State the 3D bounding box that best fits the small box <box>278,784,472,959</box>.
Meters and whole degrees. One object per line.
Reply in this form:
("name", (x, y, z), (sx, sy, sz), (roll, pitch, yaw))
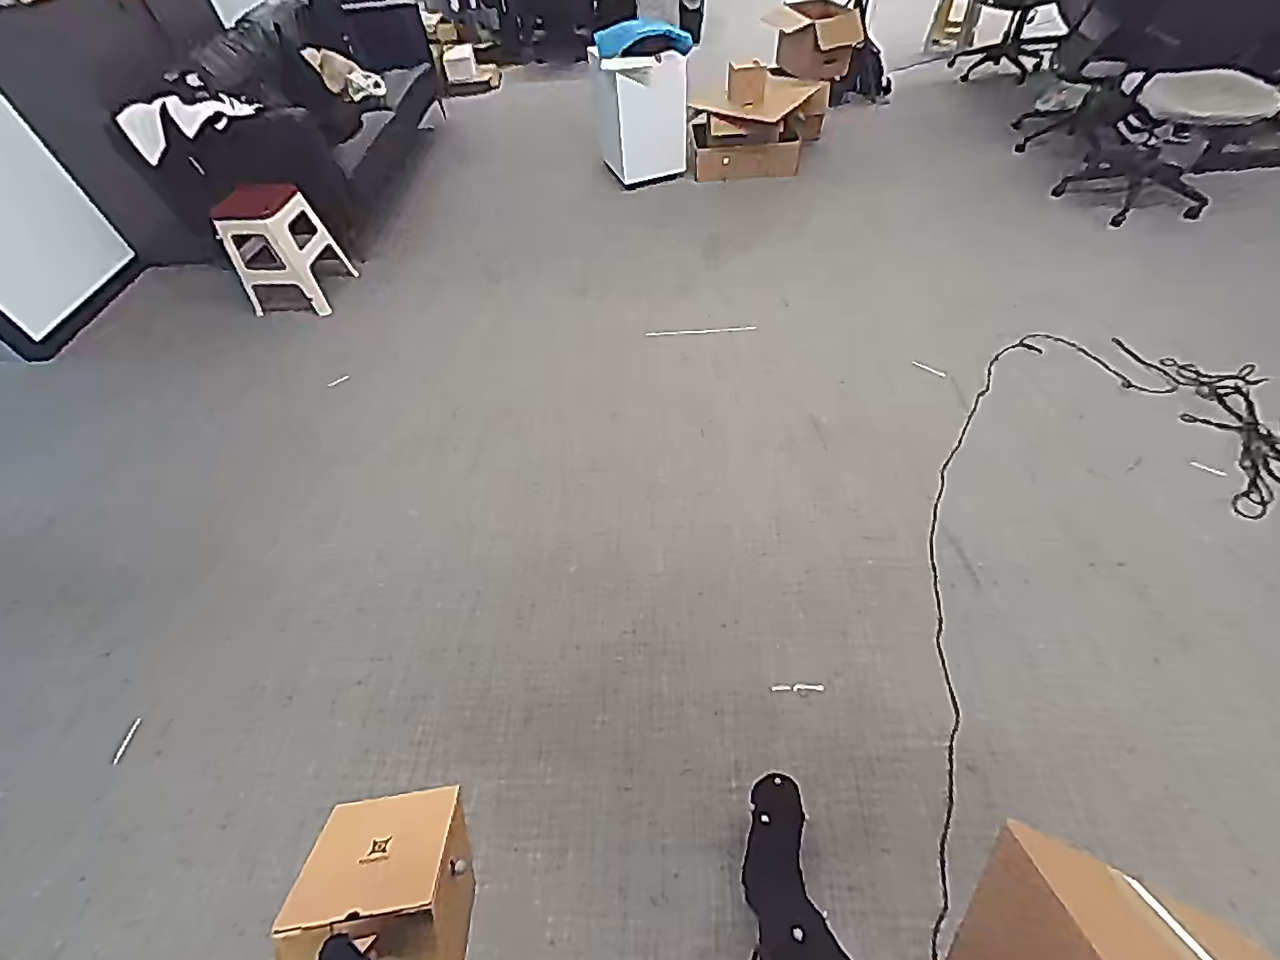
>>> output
("small box", (-0.314, 0.529, 0.681), (0.168, 0.176, 0.179), (-6, 13, -8))
